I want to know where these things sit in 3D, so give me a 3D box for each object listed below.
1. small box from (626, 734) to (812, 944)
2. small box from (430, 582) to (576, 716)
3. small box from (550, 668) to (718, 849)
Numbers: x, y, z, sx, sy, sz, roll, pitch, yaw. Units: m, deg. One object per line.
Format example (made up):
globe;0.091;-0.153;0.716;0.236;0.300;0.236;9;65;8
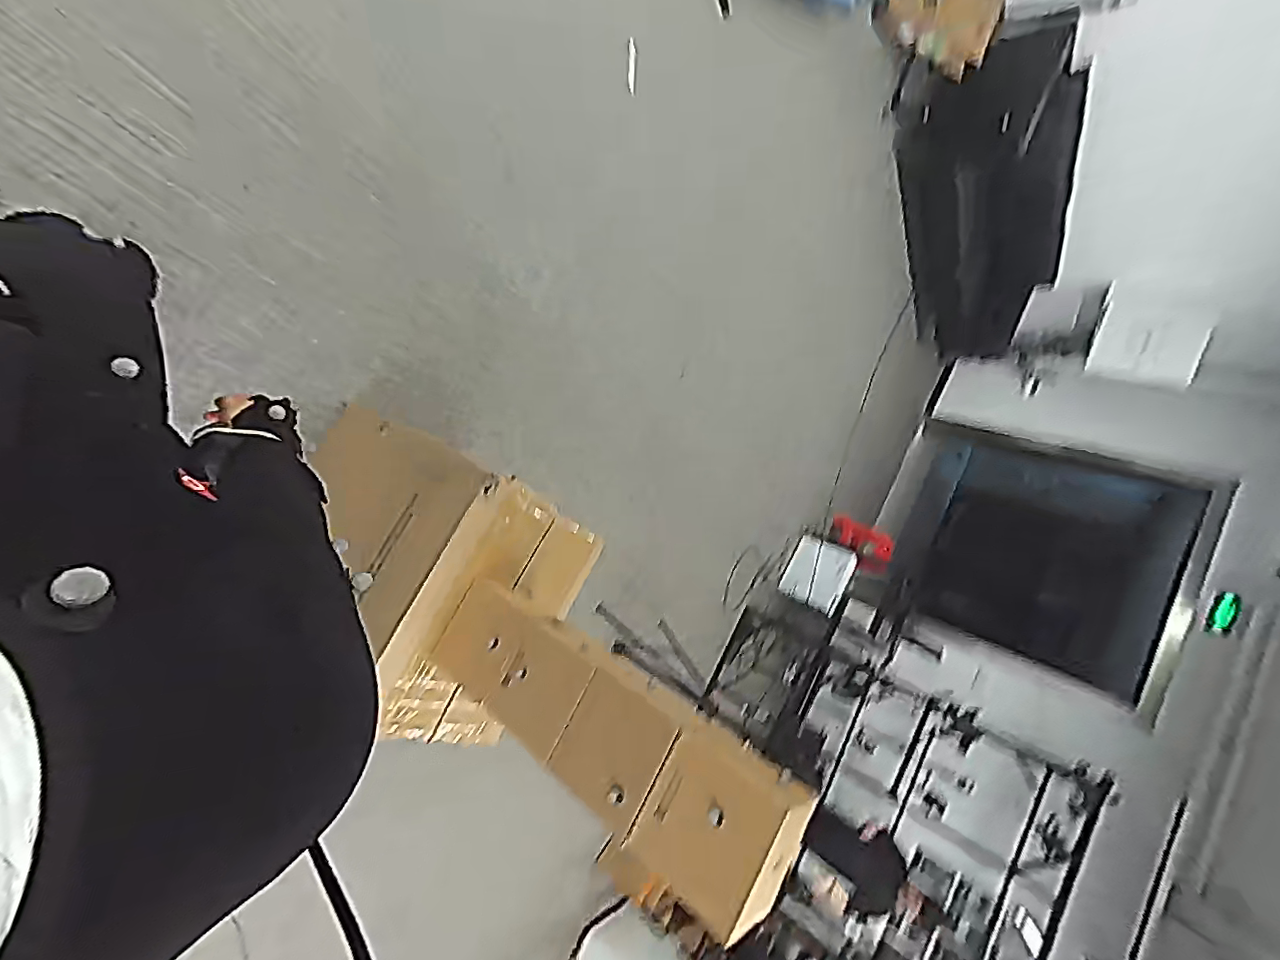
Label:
small box;0.110;0.474;0.746;0.168;0.176;0.179;-61;143;-9
small box;-0.262;0.317;1.027;0.179;0.176;0.168;-60;143;-9
small box;-0.014;0.422;0.838;0.179;0.176;0.168;-61;143;-9
